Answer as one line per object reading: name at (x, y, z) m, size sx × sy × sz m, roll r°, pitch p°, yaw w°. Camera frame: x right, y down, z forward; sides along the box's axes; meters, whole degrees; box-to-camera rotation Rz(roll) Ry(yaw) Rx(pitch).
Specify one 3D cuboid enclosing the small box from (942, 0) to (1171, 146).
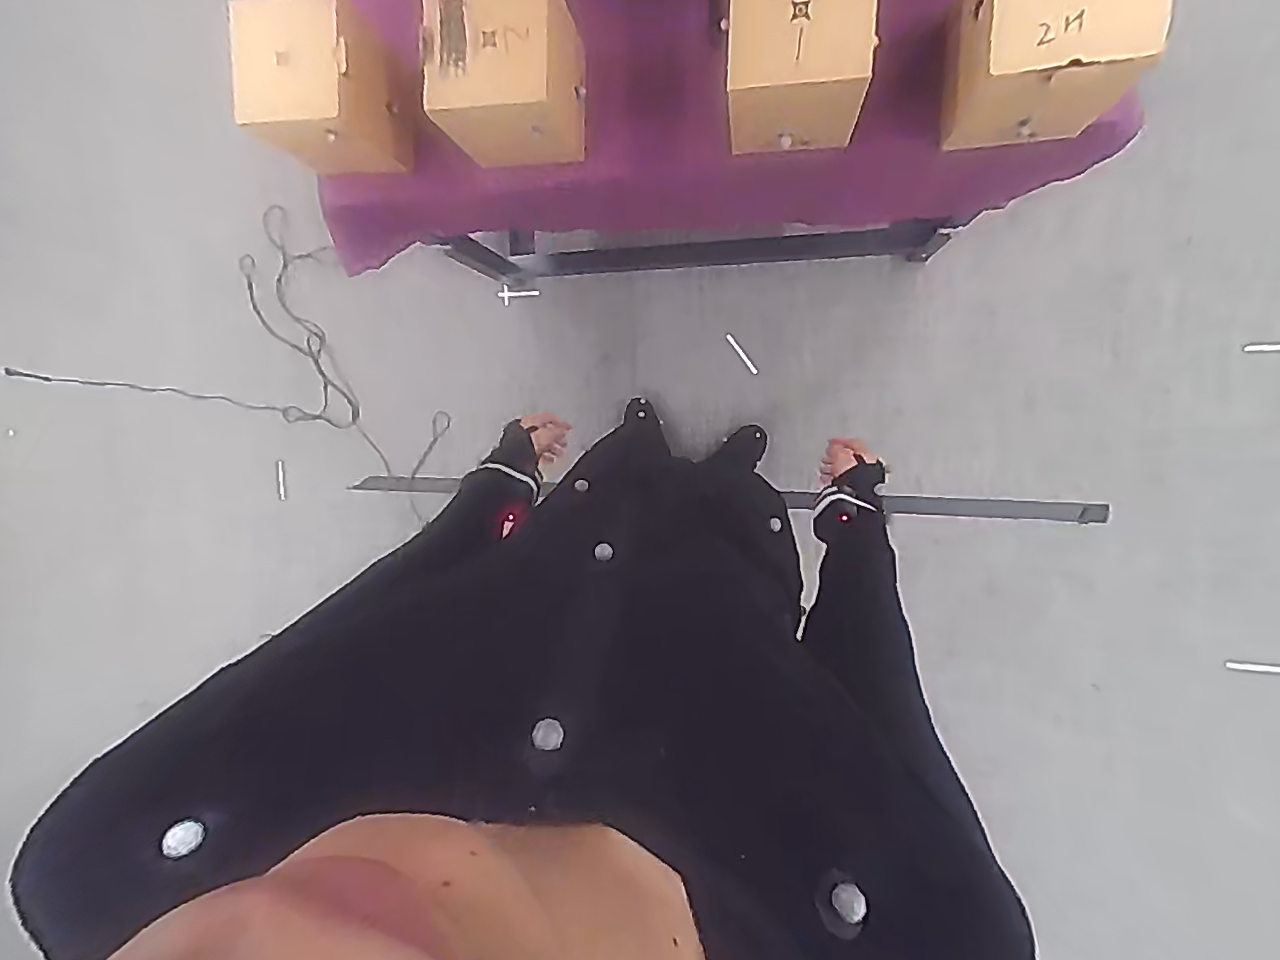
small box at (0.474, -0.532, 0.638) m, size 0.168 × 0.176 × 0.179 m, roll 2°, pitch 97°, yaw 13°

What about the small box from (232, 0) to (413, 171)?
small box at (-0.478, -0.597, 0.831) m, size 0.179 × 0.176 × 0.168 m, roll 4°, pitch 97°, yaw 10°
